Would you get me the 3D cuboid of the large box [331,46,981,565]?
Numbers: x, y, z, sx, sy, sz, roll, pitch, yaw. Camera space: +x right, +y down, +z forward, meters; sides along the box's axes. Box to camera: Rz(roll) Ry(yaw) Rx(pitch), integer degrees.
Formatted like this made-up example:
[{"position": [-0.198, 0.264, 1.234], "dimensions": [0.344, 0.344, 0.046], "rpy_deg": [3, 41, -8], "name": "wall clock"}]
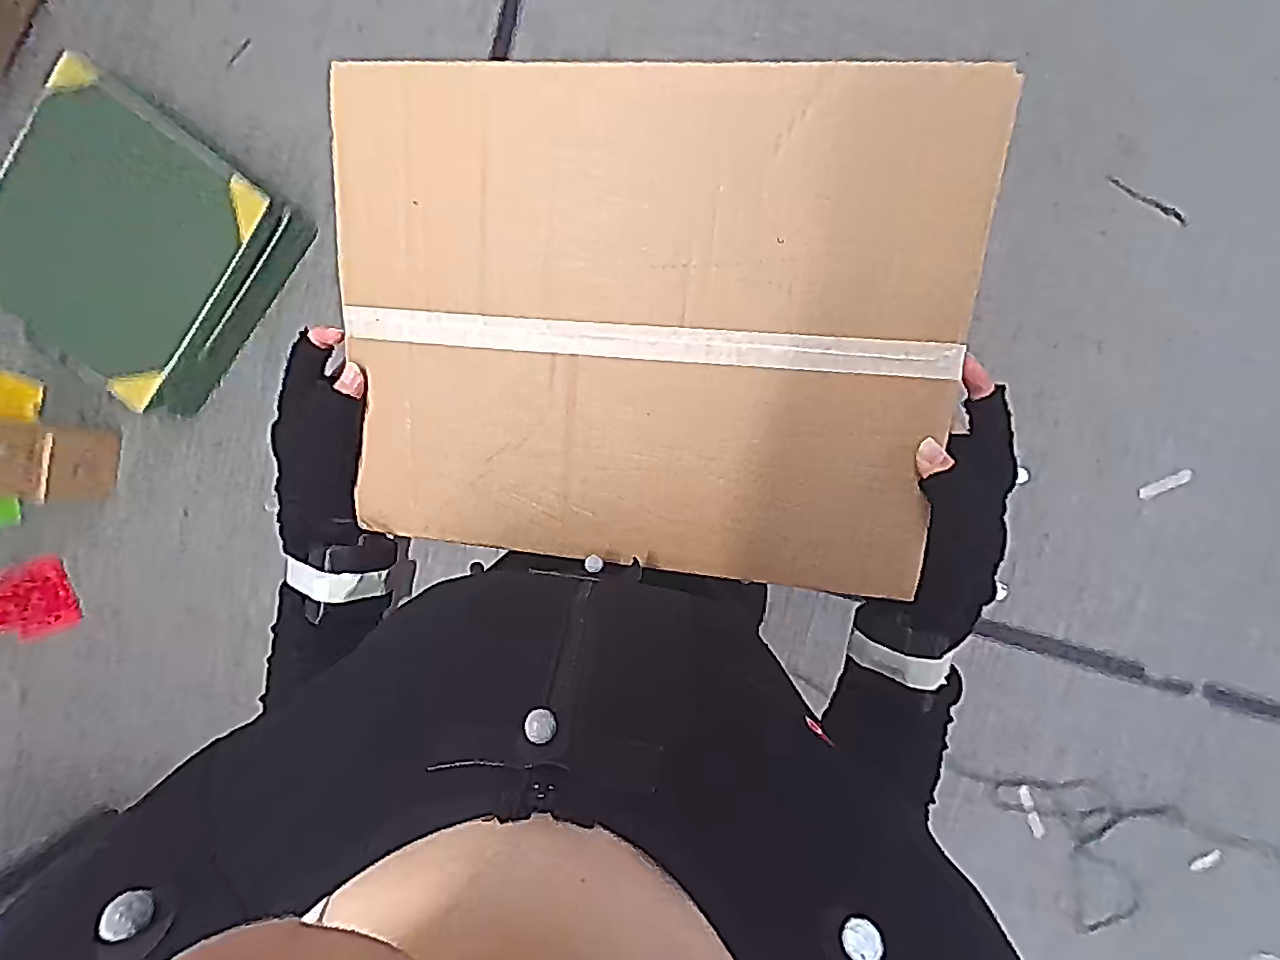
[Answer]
[{"position": [0.014, -0.137, 0.502], "dimensions": [0.408, 0.320, 0.320], "rpy_deg": [4, 104, 8], "name": "large box"}]
